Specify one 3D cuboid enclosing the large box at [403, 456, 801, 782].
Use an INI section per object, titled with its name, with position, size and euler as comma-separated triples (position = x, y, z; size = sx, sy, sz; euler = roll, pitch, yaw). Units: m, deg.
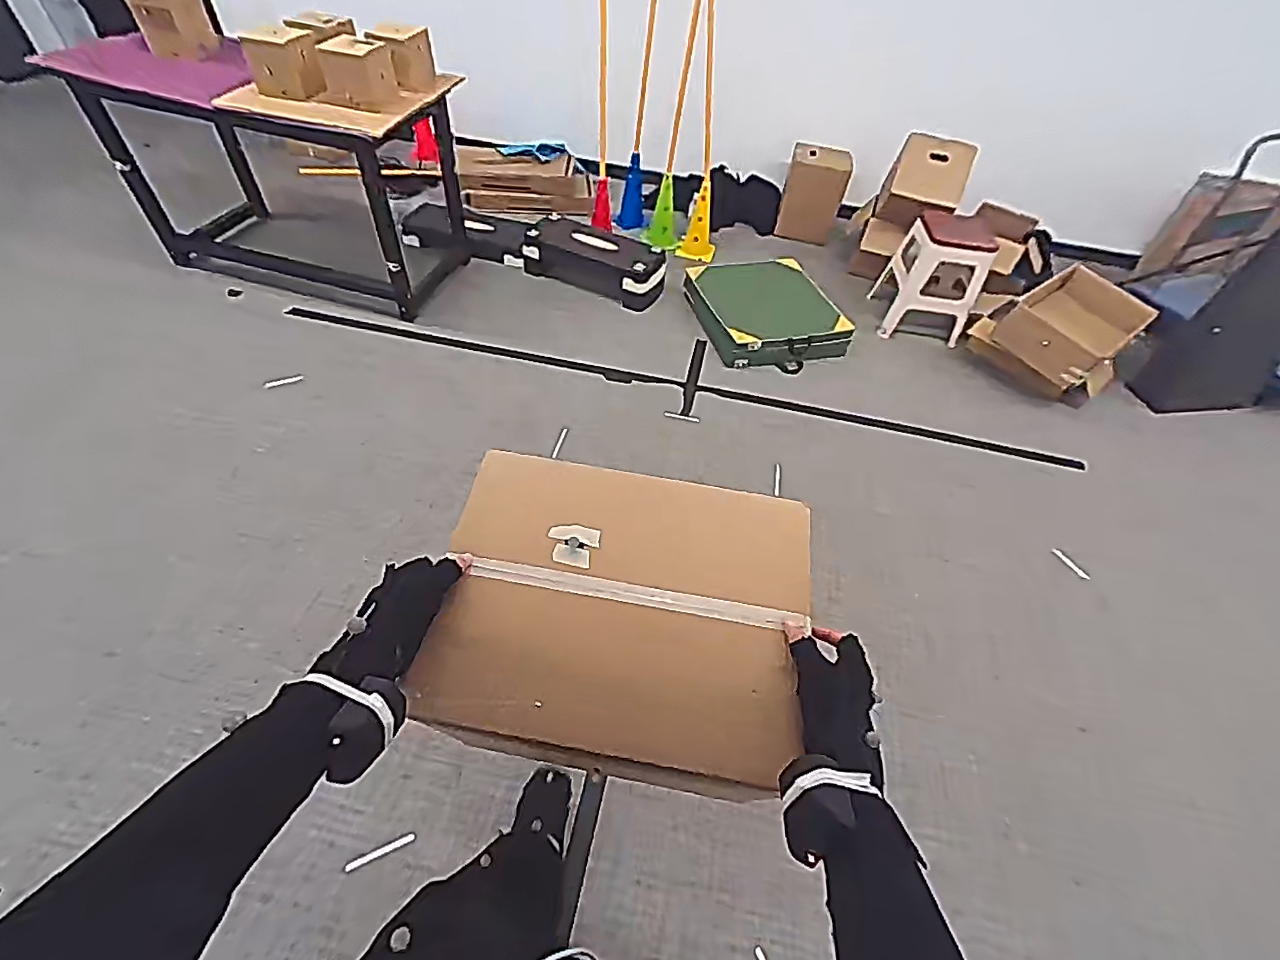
[large box]
position = -0.022, 0.201, 0.732
size = 0.408, 0.320, 0.320
euler = 9, 58, 4
